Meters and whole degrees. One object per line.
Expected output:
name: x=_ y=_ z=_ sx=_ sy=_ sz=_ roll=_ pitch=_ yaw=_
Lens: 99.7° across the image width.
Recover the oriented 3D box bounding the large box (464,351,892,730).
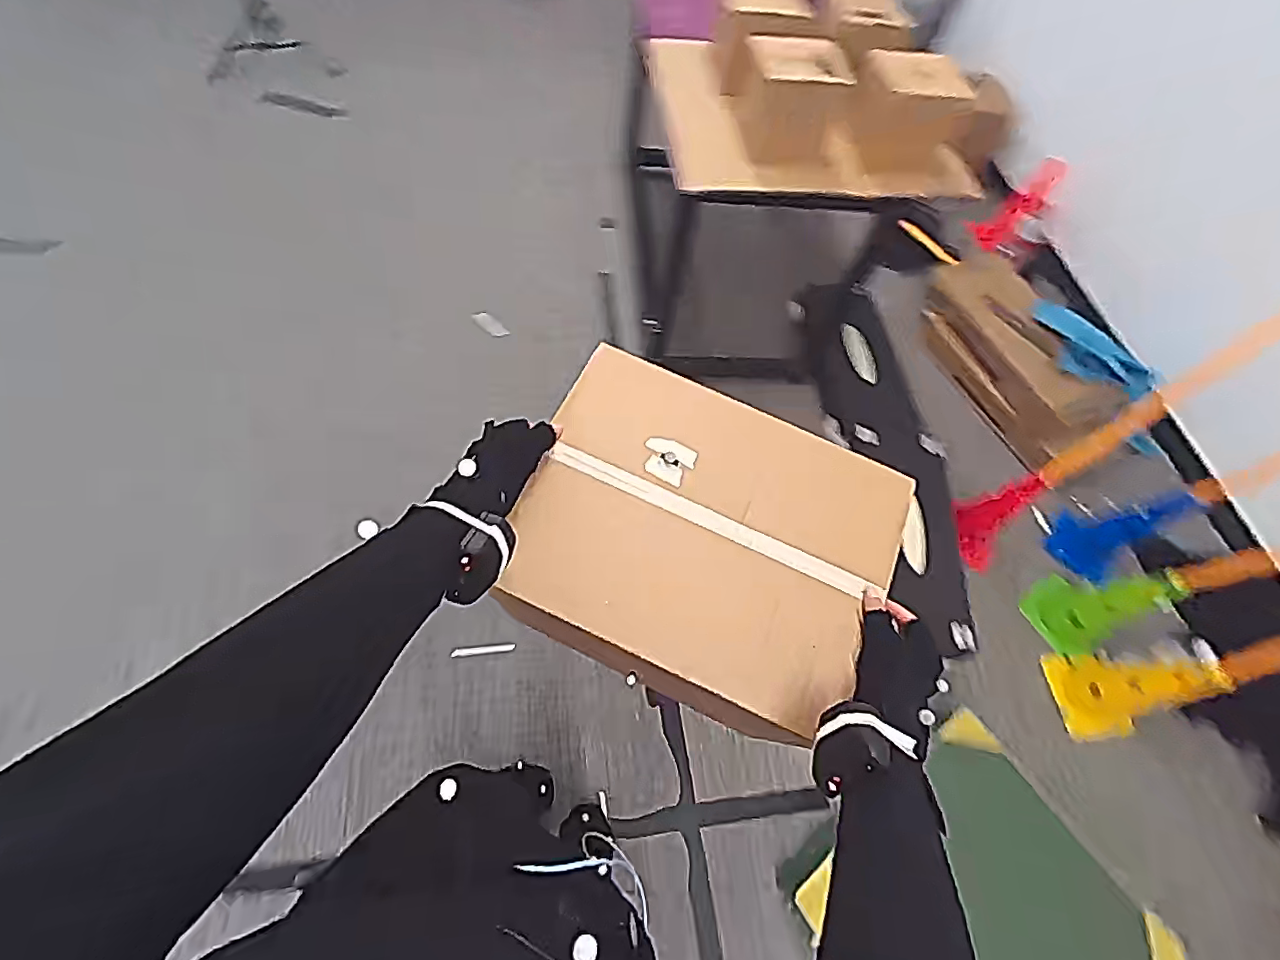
large box: x=0.049 y=0.098 z=0.730 sx=0.408 sy=0.320 sz=0.320 roll=23 pitch=67 yaw=5
